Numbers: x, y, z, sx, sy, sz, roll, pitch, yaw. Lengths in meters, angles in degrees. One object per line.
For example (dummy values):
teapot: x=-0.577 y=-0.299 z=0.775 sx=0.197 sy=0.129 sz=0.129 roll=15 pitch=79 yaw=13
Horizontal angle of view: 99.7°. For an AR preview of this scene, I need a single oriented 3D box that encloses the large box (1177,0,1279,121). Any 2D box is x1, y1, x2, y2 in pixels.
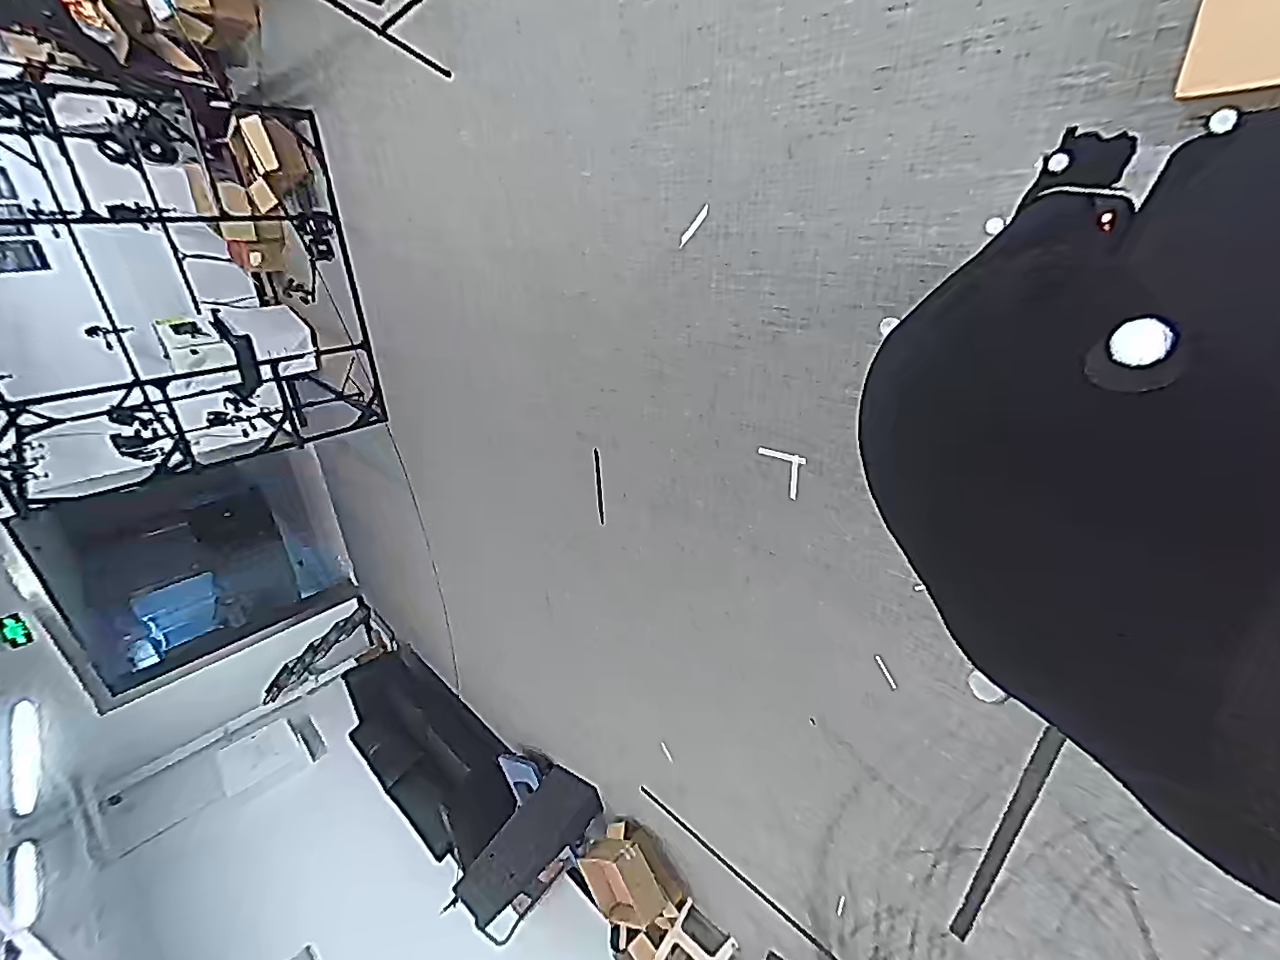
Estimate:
large box: x=1.000 y=-0.684 z=0.683 sx=0.408 sy=0.320 sz=0.320 roll=19 pitch=123 yaw=39
